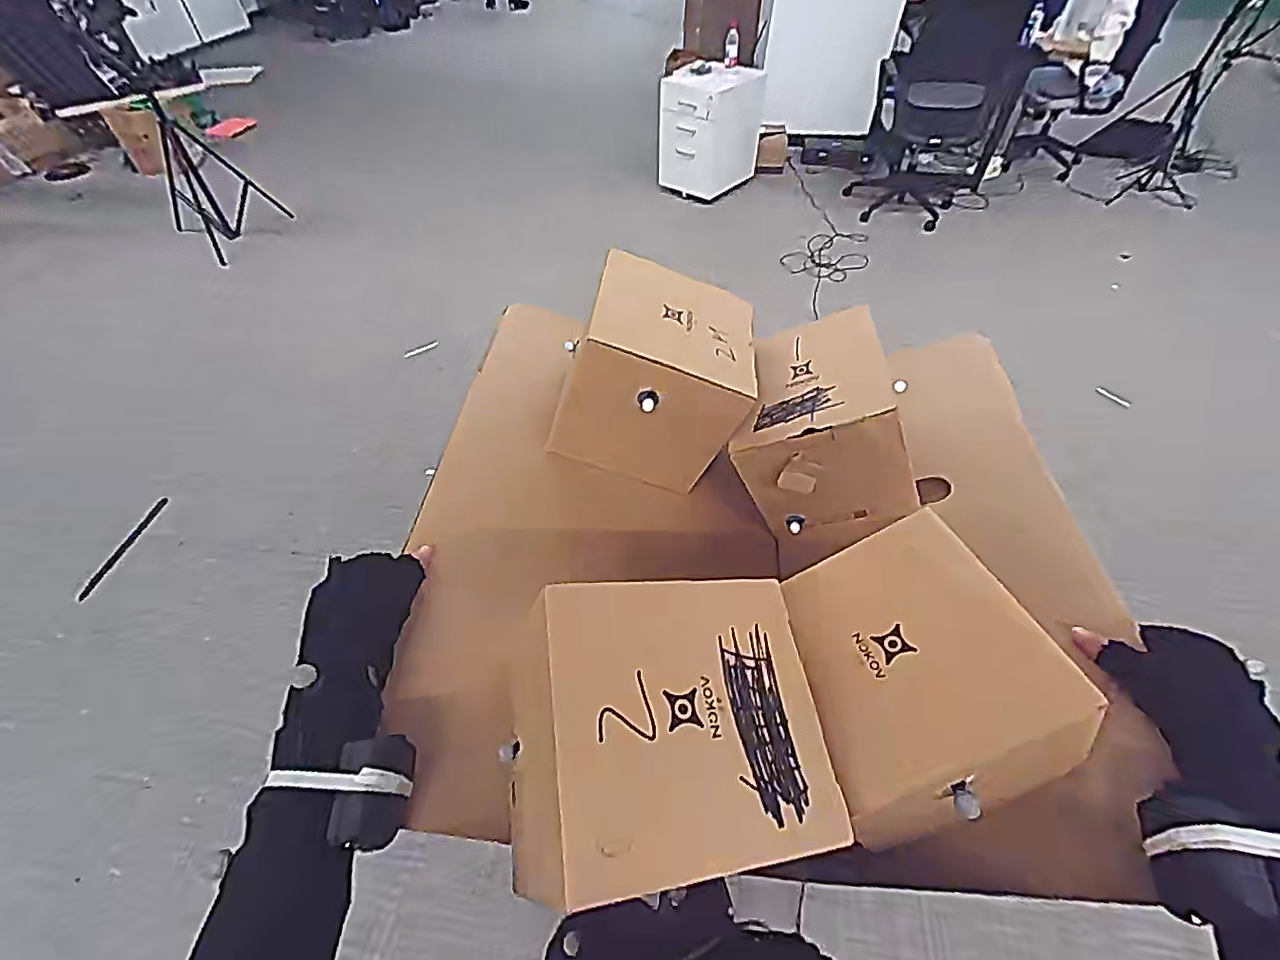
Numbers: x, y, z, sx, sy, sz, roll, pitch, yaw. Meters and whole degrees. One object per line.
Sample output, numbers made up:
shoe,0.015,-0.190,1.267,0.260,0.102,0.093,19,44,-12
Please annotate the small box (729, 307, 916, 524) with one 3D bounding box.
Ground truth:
small box,0.214,-0.064,0.640,0.168,0.176,0.179,-14,45,25
